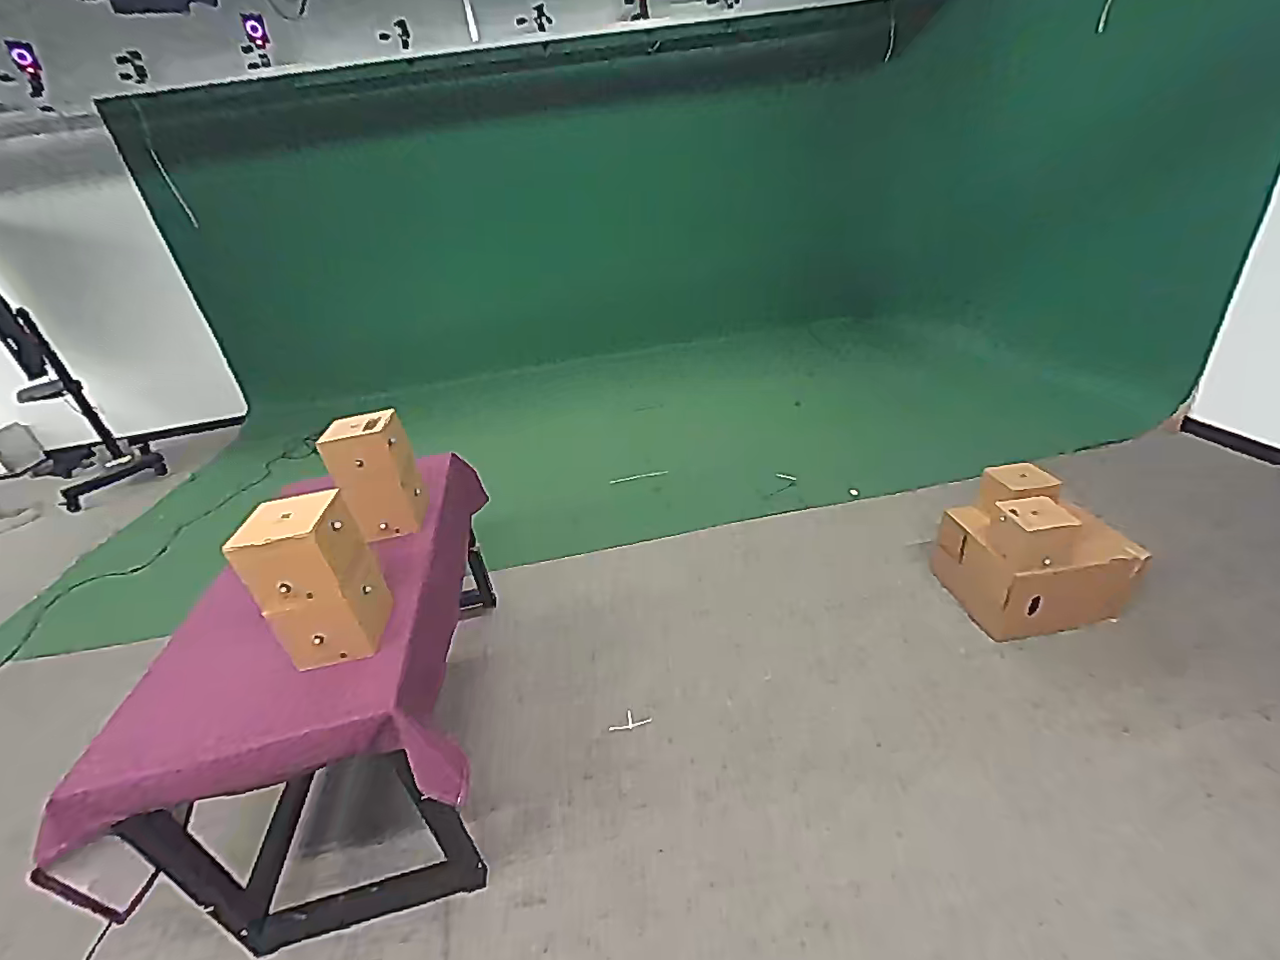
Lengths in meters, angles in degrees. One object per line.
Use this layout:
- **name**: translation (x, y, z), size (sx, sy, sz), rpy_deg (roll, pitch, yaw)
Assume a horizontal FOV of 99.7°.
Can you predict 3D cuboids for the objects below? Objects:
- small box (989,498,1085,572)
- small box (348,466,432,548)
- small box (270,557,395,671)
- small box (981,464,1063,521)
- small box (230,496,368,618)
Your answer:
- **small box**: translation (1.271, 0.179, 1.747), size (0.179, 0.176, 0.168), rpy_deg (-7, 29, 0)
- **small box**: translation (-0.746, 0.081, 1.635), size (0.168, 0.176, 0.179), rpy_deg (-12, 30, -4)
- **small box**: translation (-0.672, 0.303, 1.209), size (0.168, 0.176, 0.179), rpy_deg (-11, 29, -4)
- **small box**: translation (1.361, 0.063, 1.943), size (0.179, 0.176, 0.168), rpy_deg (-8, 28, -2)
- **small box**: translation (-0.697, 0.160, 1.134), size (0.168, 0.176, 0.179), rpy_deg (-12, 30, -4)
